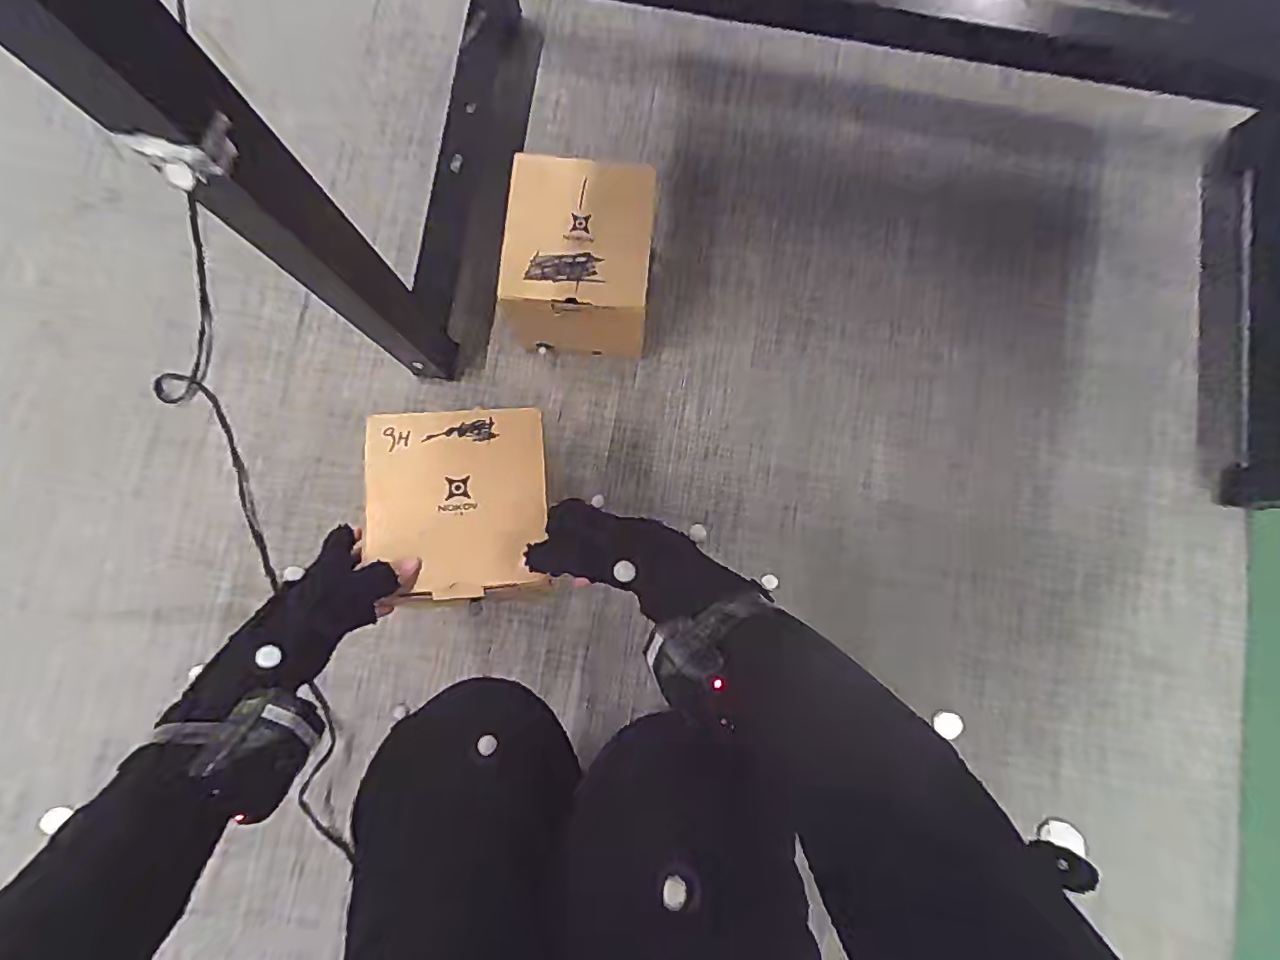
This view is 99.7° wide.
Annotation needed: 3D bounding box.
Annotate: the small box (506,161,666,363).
[{"bbox_3d":[-0.061,-0.262,0.688,0.168,0.176,0.179,6,83,-1],"label":"small box"}]
